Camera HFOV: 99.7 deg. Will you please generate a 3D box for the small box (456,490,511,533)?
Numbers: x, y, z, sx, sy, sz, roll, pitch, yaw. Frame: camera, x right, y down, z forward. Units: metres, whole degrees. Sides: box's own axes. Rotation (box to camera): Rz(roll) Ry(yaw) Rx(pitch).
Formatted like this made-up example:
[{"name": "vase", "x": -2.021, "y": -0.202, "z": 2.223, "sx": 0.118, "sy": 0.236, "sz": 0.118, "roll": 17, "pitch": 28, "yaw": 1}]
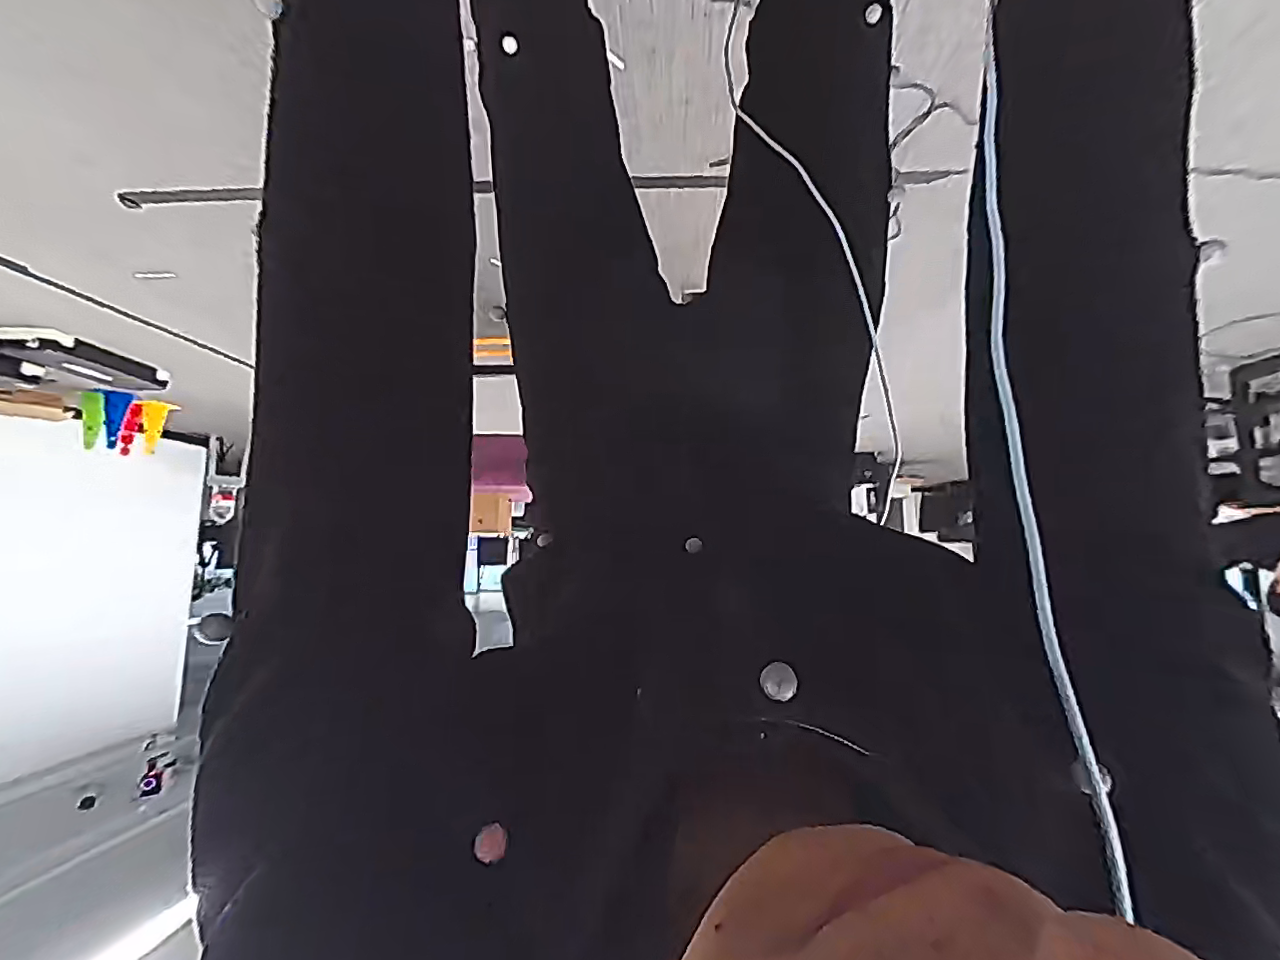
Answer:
[{"name": "small box", "x": -0.623, "y": 0.128, "z": 2.166, "sx": 0.179, "sy": 0.176, "sz": 0.168, "roll": 0, "pitch": 173, "yaw": 4}]
